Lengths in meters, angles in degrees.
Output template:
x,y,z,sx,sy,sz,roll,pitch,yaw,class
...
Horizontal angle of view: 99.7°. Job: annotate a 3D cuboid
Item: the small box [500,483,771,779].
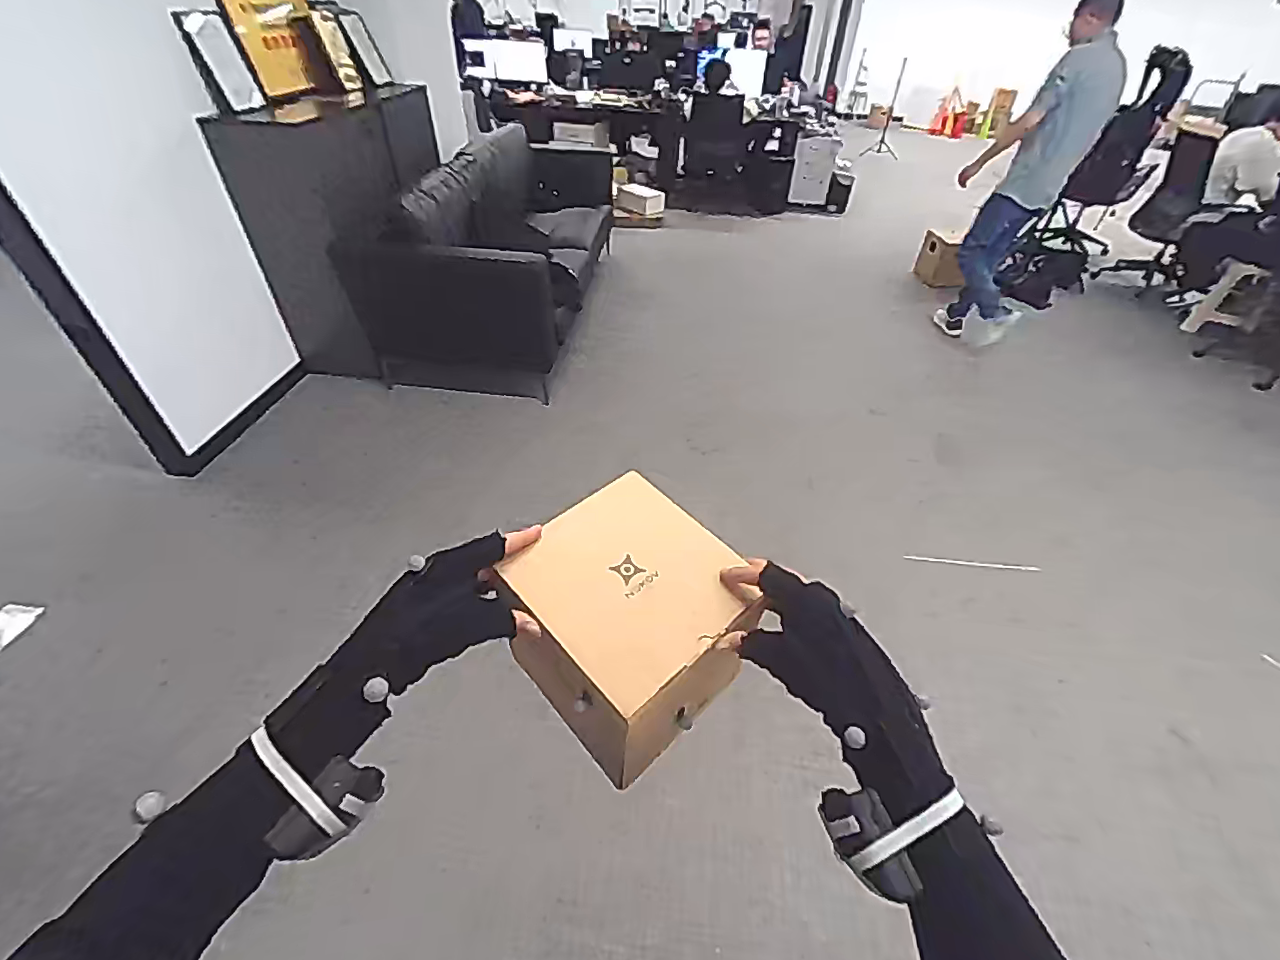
x,y,z,sx,sy,sz,roll,pitch,yaw,class
-0.010,0.141,0.513,0.168,0.176,0.179,-32,56,-30,small box
